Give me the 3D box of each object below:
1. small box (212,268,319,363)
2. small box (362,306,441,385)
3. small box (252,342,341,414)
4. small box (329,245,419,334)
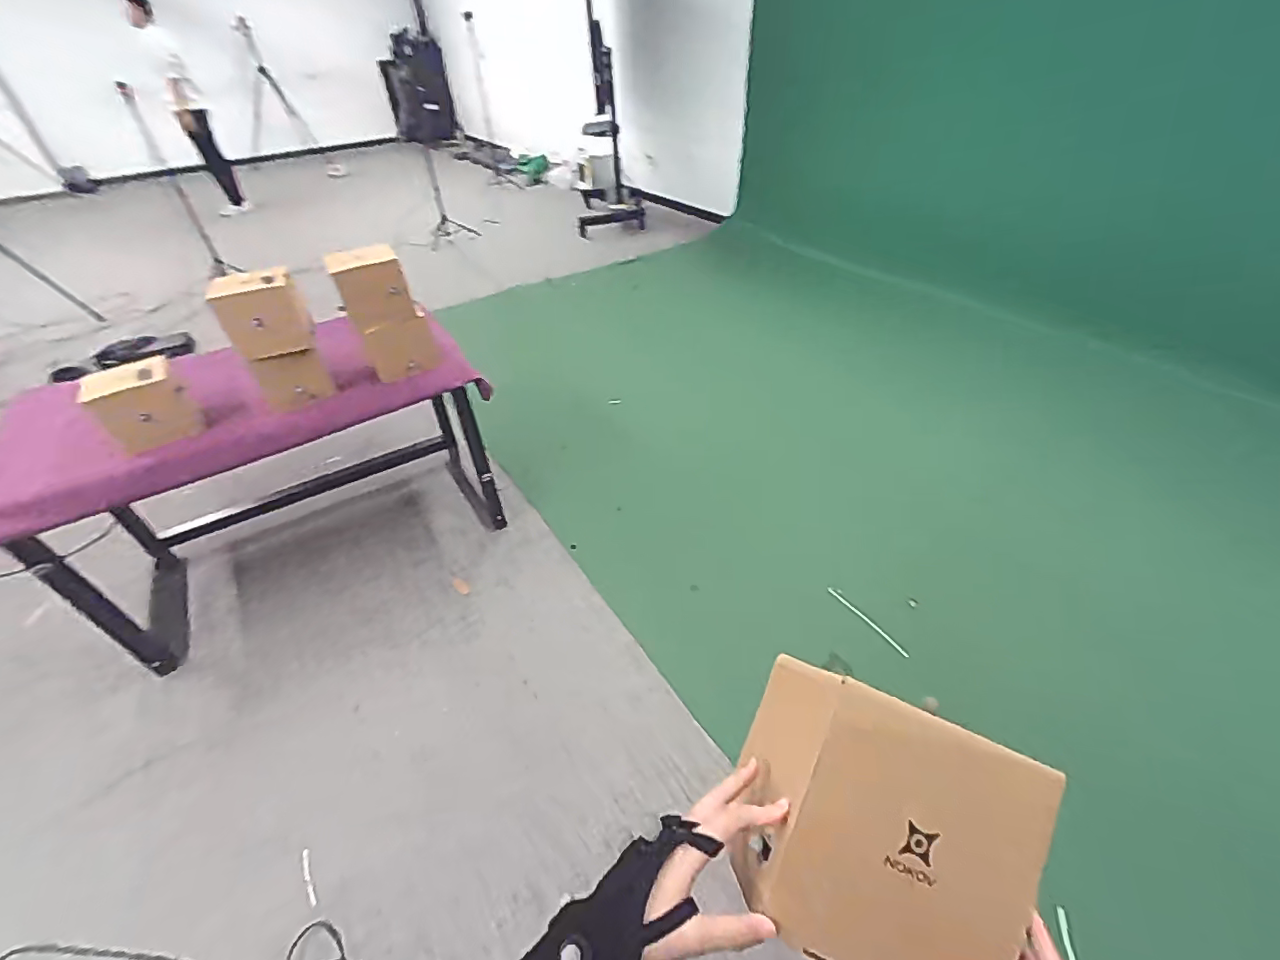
[{"bbox_3d":[-0.963,-0.429,1.411,0.179,0.176,0.168,-19,42,-16],"label":"small box"},{"bbox_3d":[-0.717,-0.413,1.624,0.179,0.176,0.168,-28,46,-25],"label":"small box"},{"bbox_3d":[-0.980,-0.310,1.526,0.168,0.176,0.179,-30,47,-26],"label":"small box"},{"bbox_3d":[-0.740,-0.535,1.517,0.179,0.176,0.168,-24,45,-20],"label":"small box"}]
